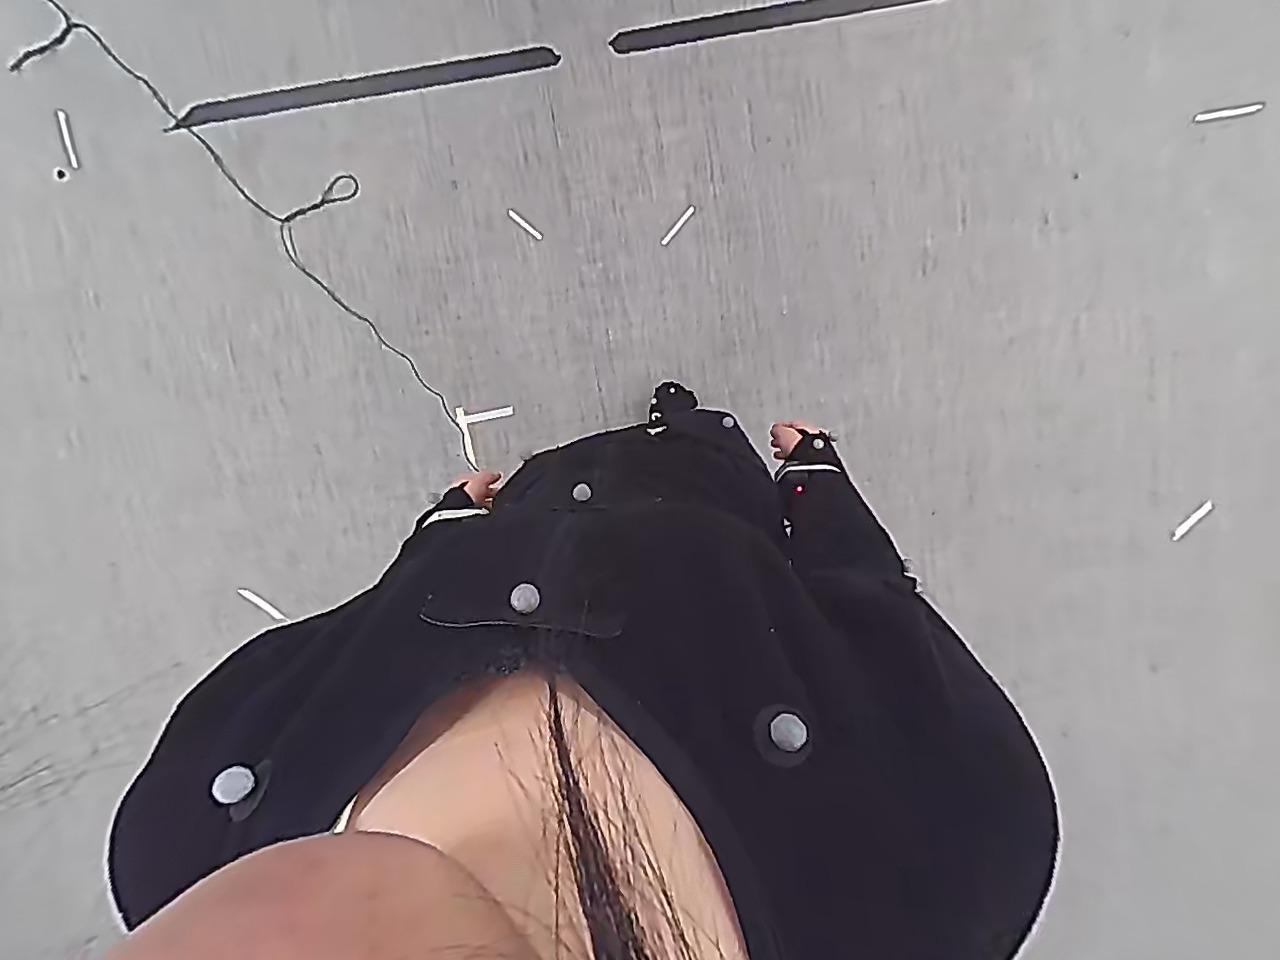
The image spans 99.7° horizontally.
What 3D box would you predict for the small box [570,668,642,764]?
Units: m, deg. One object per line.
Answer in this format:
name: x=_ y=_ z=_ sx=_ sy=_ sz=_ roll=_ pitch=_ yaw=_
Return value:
small box: x=-0.089 y=0.654 z=1.507 sx=0.168 sy=0.176 sz=0.179 roll=-9 pitch=98 yaw=3
